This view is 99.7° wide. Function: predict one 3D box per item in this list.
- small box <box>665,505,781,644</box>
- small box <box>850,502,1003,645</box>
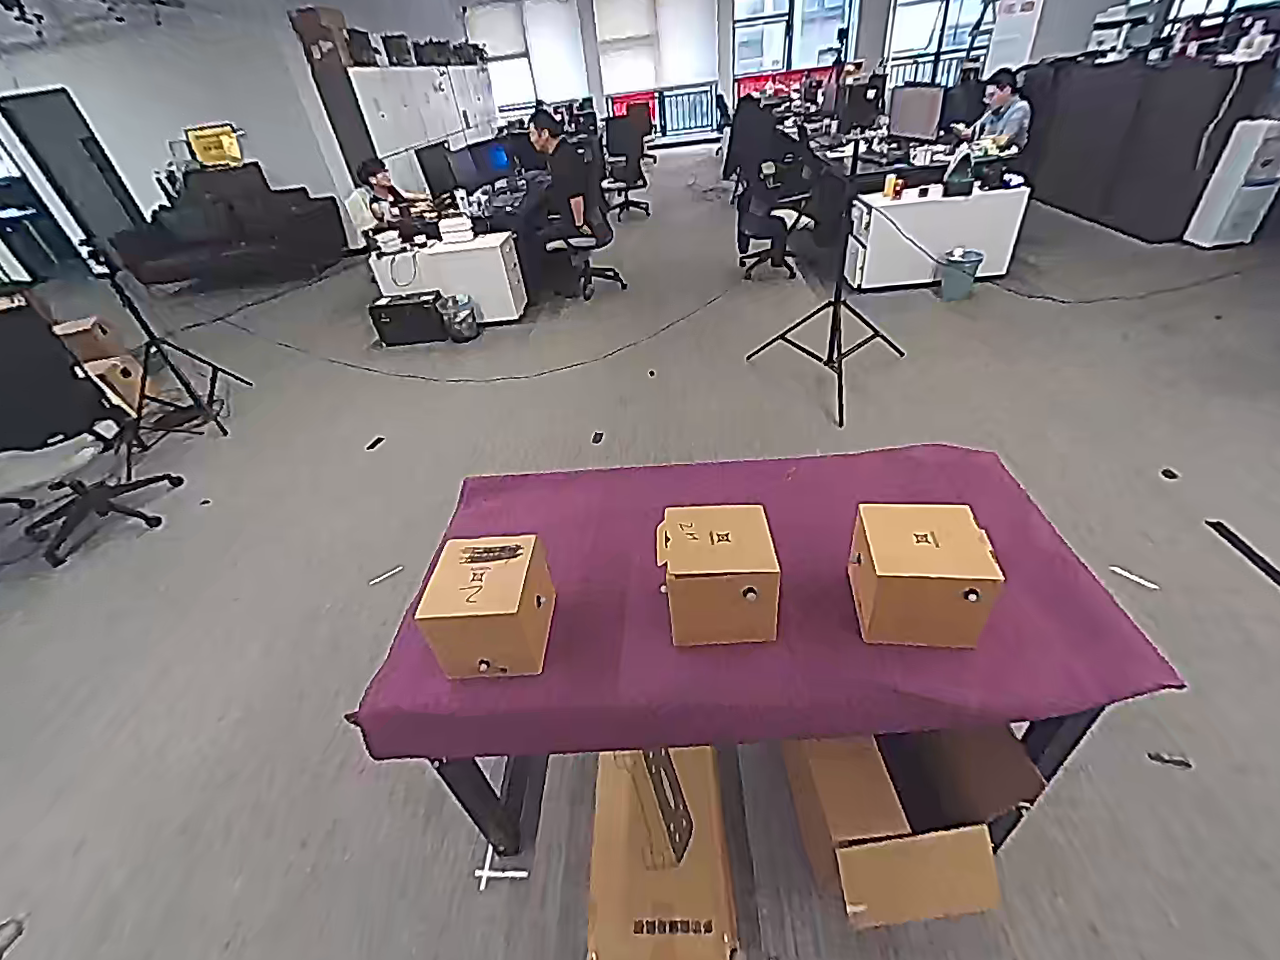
[{"bbox_3d":[0.136,0.164,0.933,0.179,0.176,0.168,-5,35,4],"label":"small box"},{"bbox_3d":[0.452,0.153,0.890,0.179,0.176,0.168,0,38,10],"label":"small box"}]
